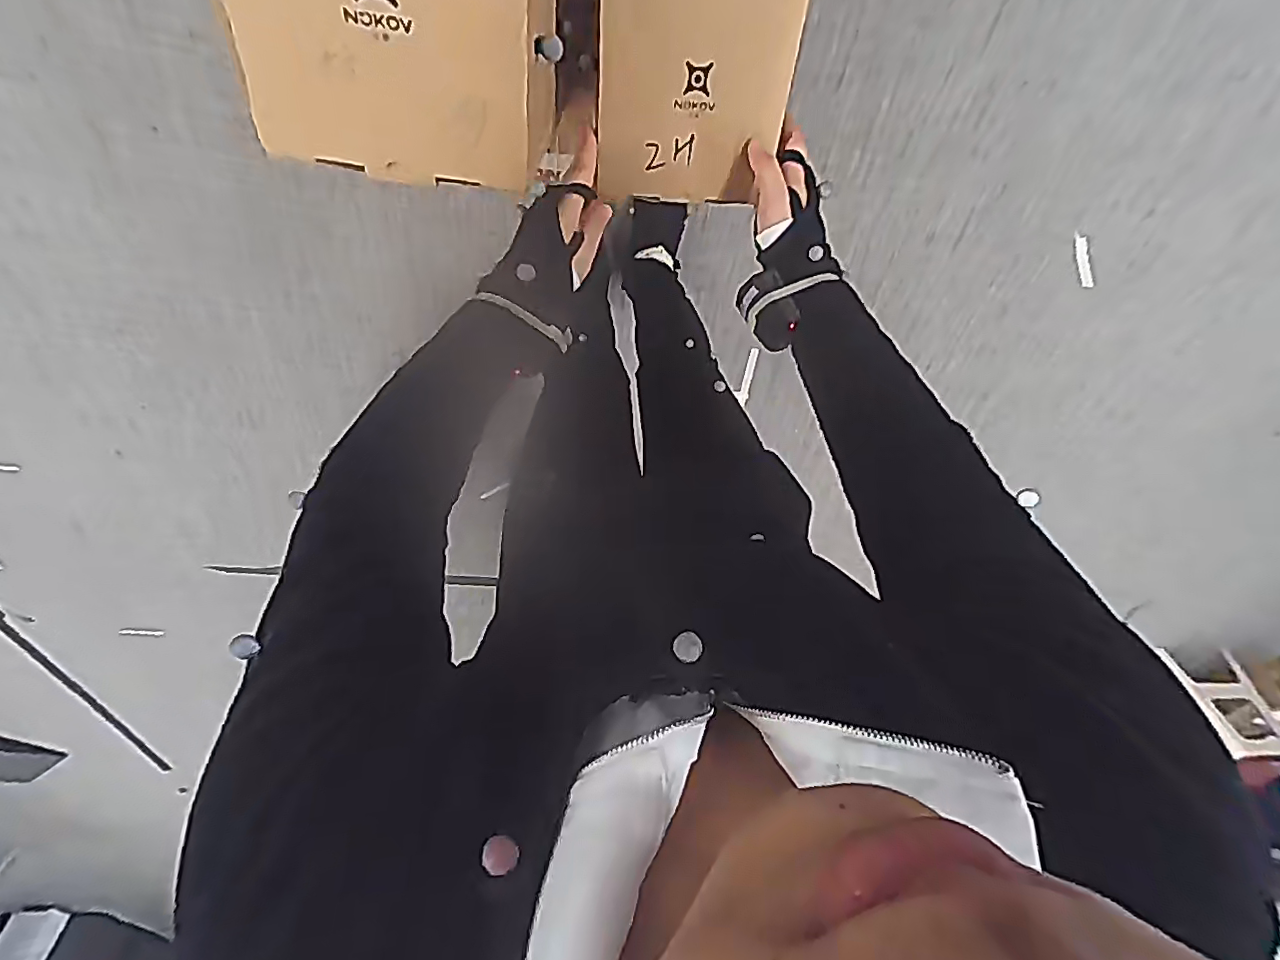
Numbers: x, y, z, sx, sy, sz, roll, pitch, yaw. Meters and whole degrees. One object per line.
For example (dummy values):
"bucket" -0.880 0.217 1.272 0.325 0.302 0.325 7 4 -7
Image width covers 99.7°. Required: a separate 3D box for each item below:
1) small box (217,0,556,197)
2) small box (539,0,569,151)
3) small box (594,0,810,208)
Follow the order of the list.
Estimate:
"small box" -0.142 -0.311 0.344 0.168 0.176 0.179 5 134 -6
"small box" -0.152 -0.415 0.471 0.168 0.176 0.179 3 135 -5
"small box" 0.041 -0.382 0.515 0.168 0.176 0.179 0 133 -6
